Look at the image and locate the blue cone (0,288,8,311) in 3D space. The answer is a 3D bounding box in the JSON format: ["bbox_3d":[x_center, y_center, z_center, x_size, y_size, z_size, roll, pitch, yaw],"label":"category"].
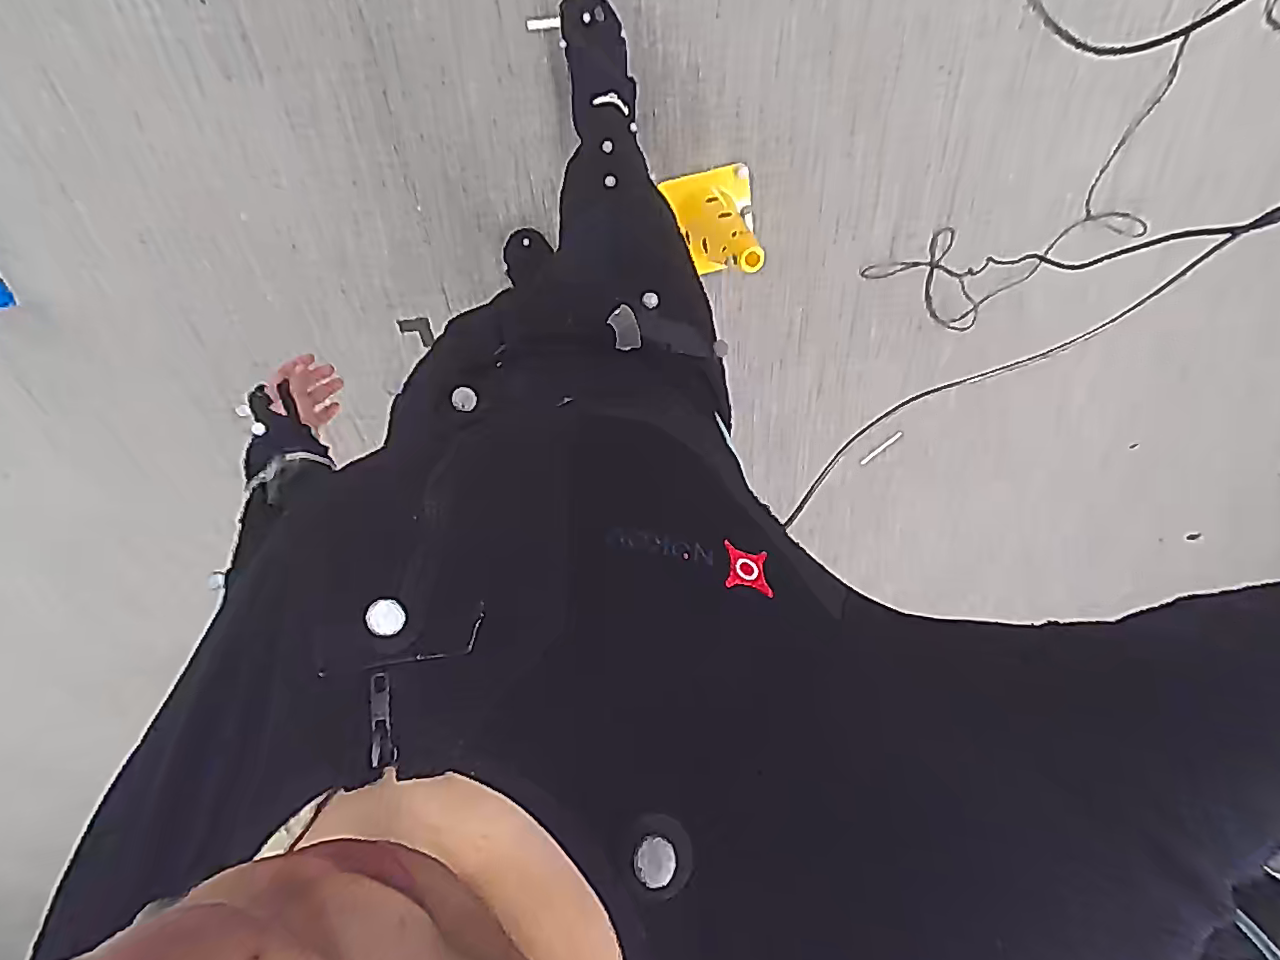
[{"bbox_3d":[-1.374,-0.322,0.926,0.193,0.380,0.192,-7,125,-2],"label":"blue cone"}]
